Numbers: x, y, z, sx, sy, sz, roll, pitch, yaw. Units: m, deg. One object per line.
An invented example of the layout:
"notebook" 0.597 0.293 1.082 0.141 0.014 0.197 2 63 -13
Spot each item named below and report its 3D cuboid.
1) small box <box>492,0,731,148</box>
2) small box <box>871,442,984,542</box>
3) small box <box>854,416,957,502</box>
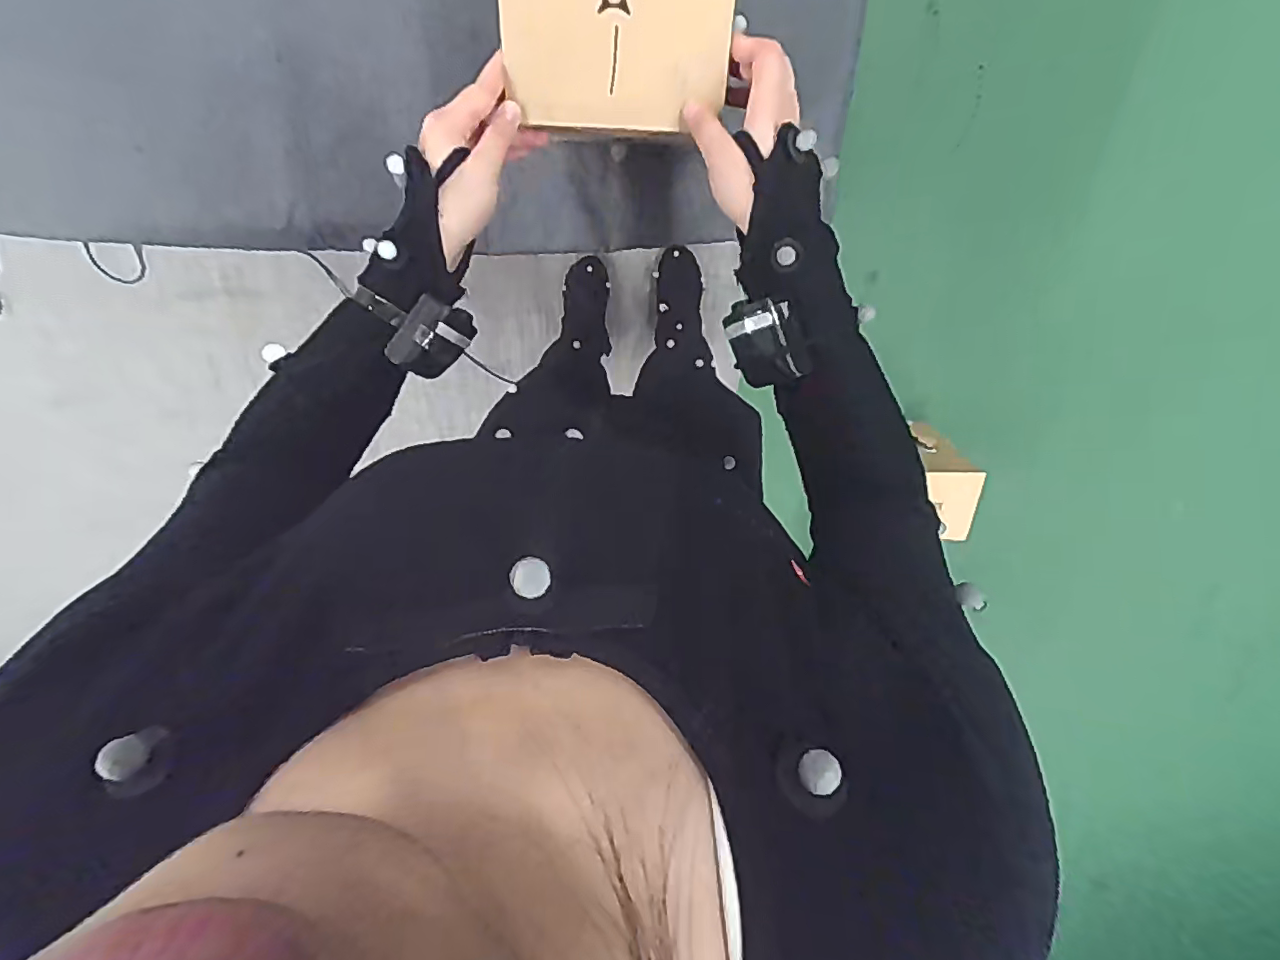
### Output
"small box" -0.016 -0.377 0.432 0.168 0.176 0.179 4 120 1
"small box" 0.653 0.026 1.254 0.168 0.176 0.179 0 117 3
"small box" 0.673 -0.047 1.398 0.168 0.176 0.179 8 118 0
